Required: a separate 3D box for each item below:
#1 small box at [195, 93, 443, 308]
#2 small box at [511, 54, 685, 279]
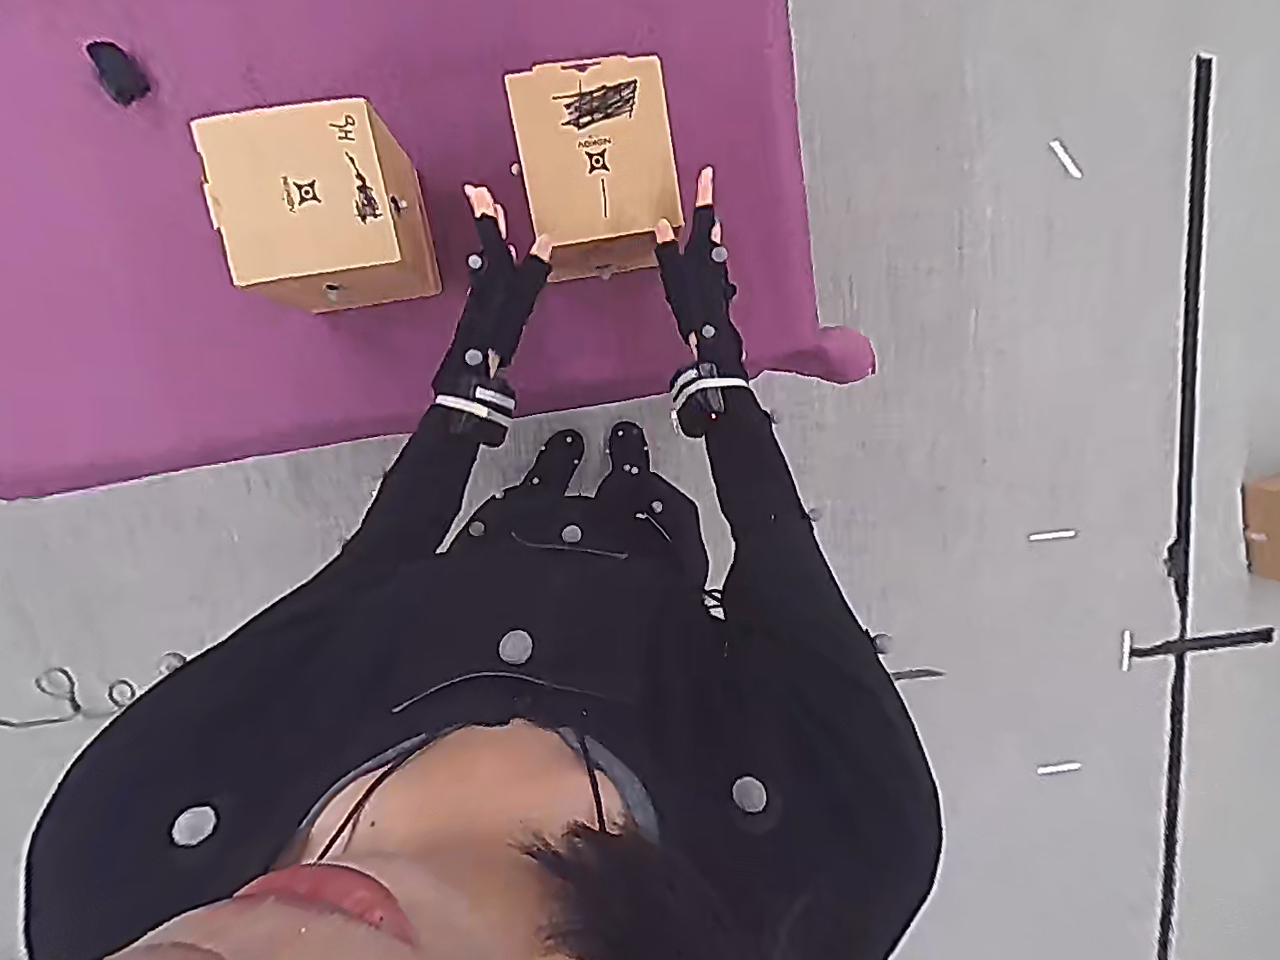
[{"bbox_3d":[-0.356,-0.310,0.635,0.179,0.176,0.168,-10,98,-3],"label":"small box"},{"bbox_3d":[-0.051,-0.363,0.656,0.168,0.176,0.179,-10,99,-4],"label":"small box"}]
